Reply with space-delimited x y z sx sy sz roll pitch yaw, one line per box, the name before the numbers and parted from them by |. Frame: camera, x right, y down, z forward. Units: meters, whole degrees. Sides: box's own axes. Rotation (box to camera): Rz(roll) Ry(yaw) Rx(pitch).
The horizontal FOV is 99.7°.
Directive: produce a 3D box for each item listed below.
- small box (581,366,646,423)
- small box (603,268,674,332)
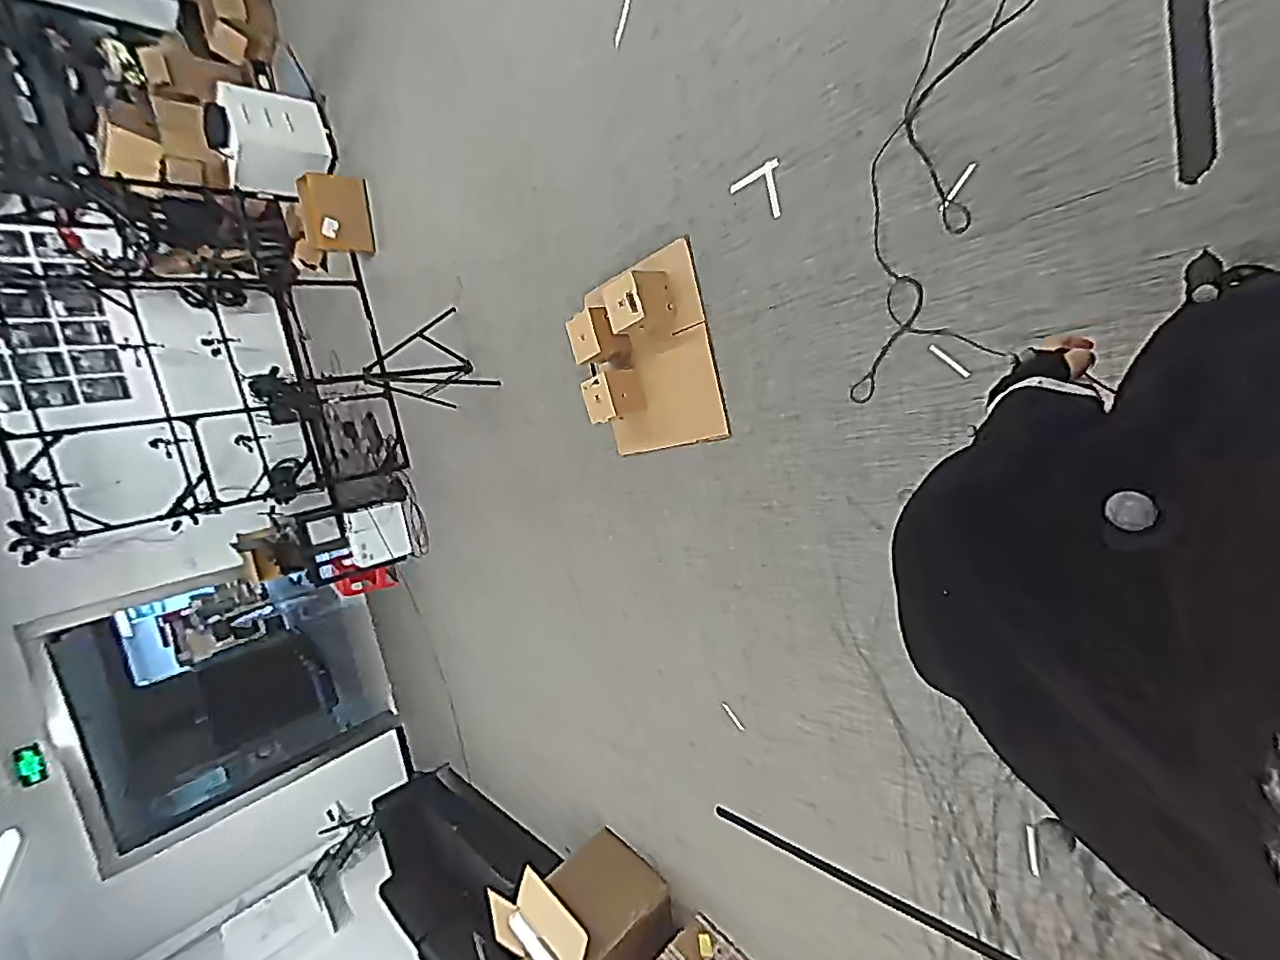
small box | -0.100 -0.340 2.143 0.168 0.176 0.179 -13 95 48
small box | 0.001 -0.642 1.930 0.179 0.176 0.168 -12 94 49
